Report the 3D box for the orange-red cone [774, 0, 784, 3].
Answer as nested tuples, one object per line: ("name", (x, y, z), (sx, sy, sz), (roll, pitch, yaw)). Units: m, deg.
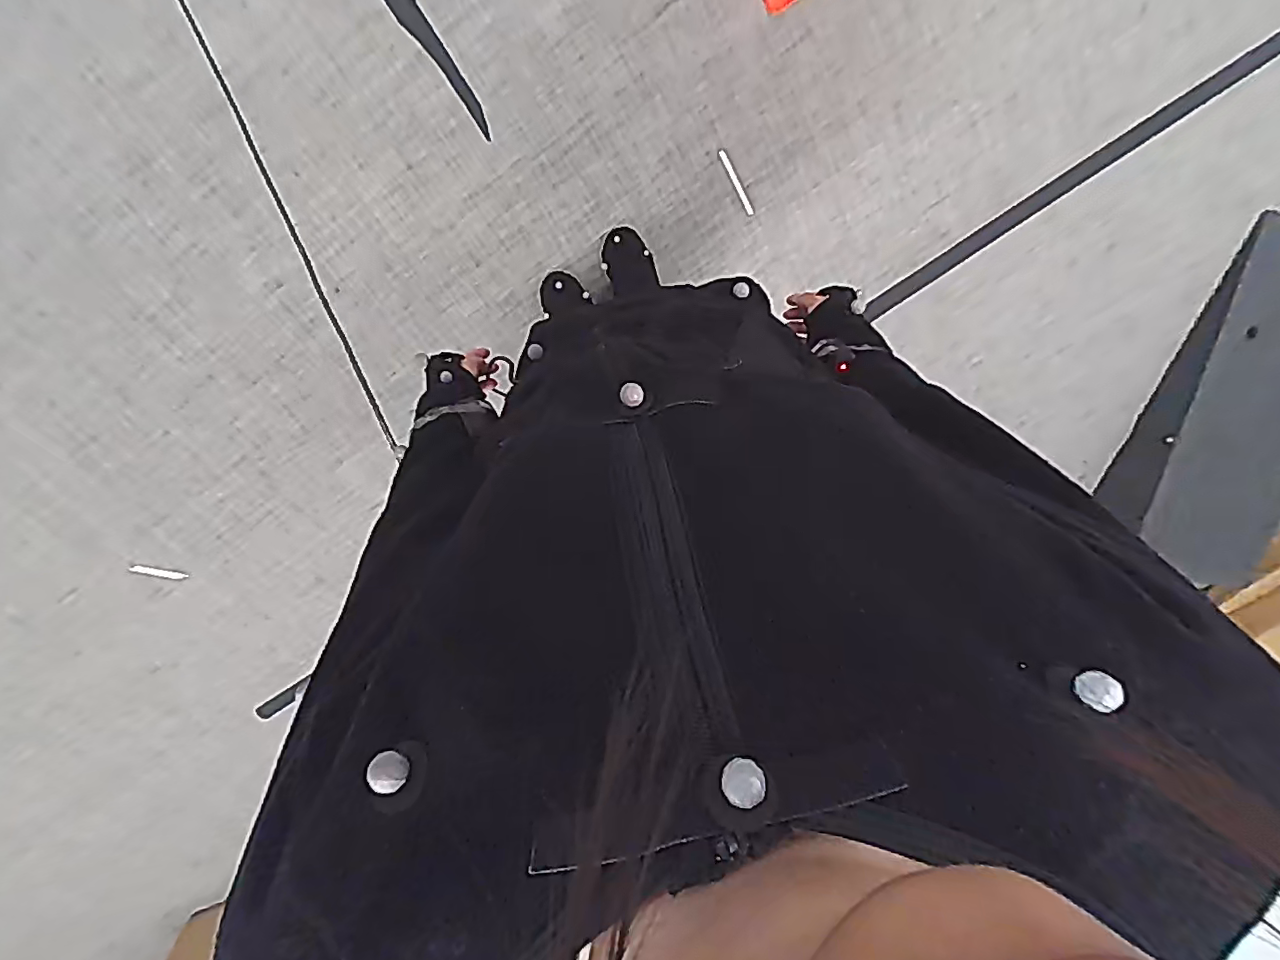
("orange-red cone", (0.319, -0.993, 0.876), (0.198, 0.360, 0.199), (-29, 115, 7))
